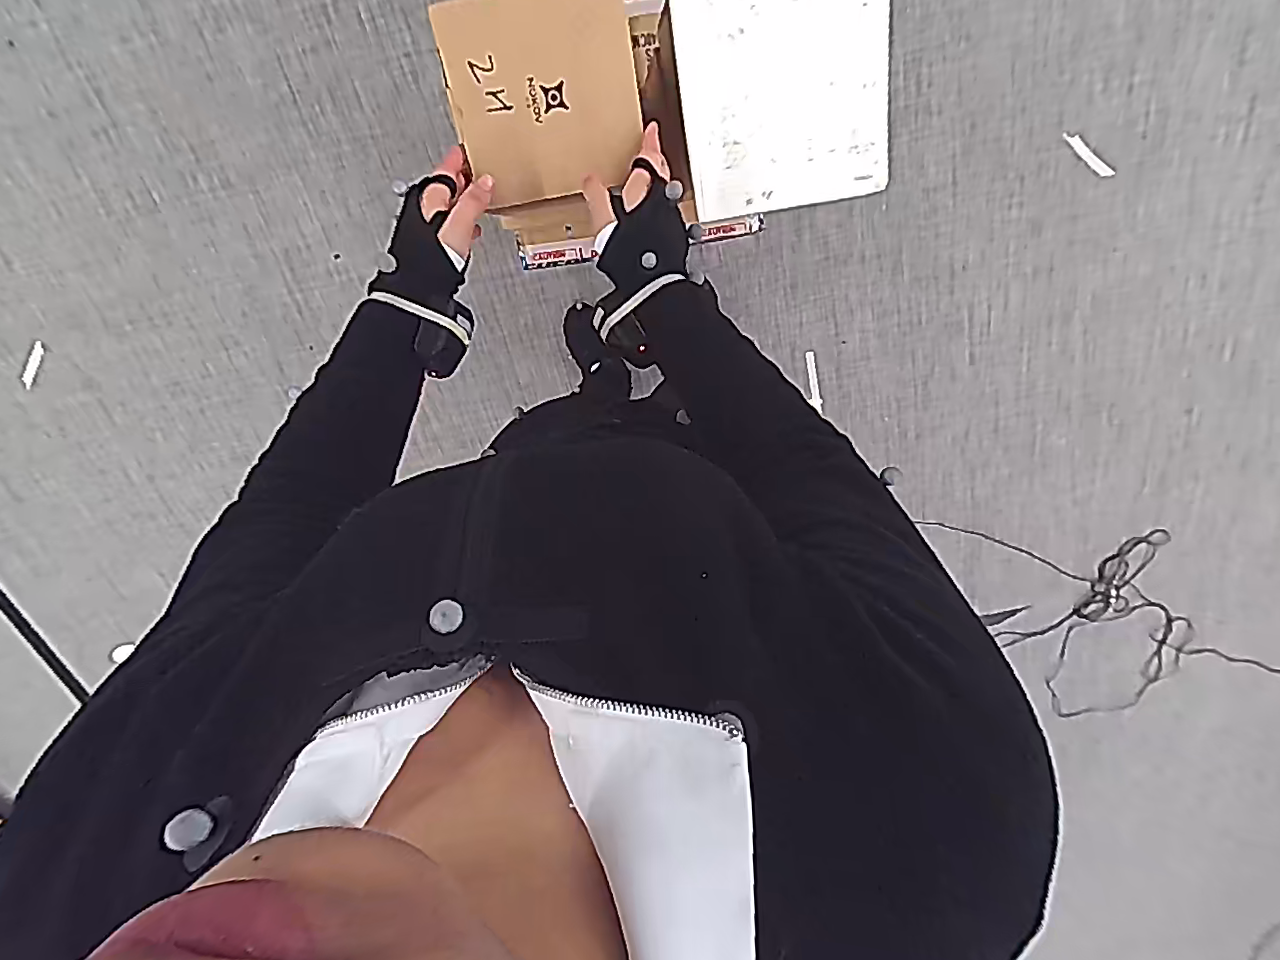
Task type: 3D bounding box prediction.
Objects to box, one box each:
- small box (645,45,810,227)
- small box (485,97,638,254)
[{"bbox_3d":[0.114,-0.459,0.748,0.179,0.176,0.168,-14,114,2],"label":"small box"},{"bbox_3d":[-0.098,-0.414,0.754,0.179,0.176,0.168,-5,114,1],"label":"small box"}]
